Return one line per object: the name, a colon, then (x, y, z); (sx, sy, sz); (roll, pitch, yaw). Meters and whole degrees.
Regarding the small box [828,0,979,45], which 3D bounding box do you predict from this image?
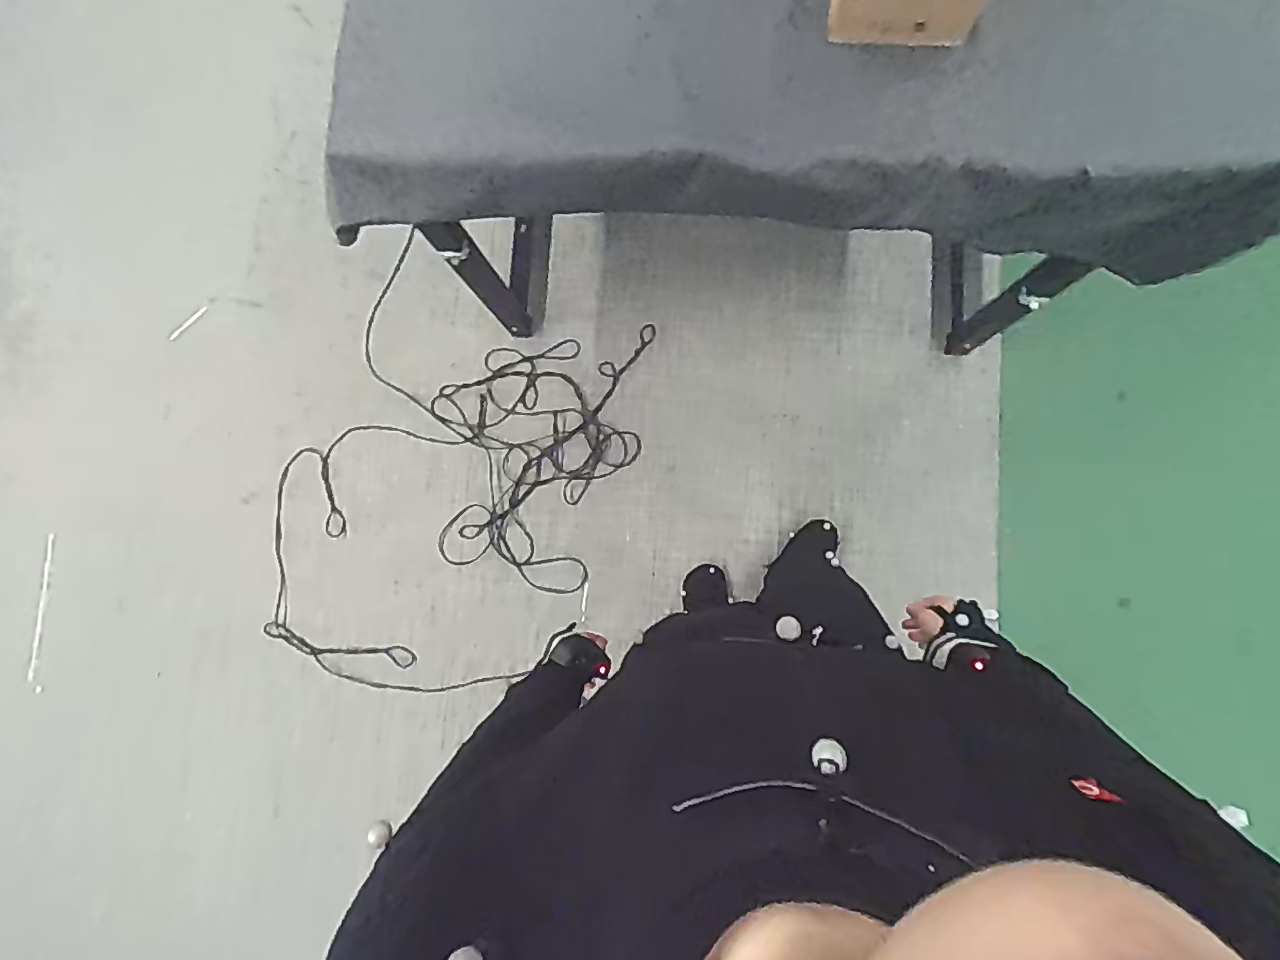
small box: (0.321, -0.643, 0.615); (0.168, 0.176, 0.179); (6, 83, 5)
